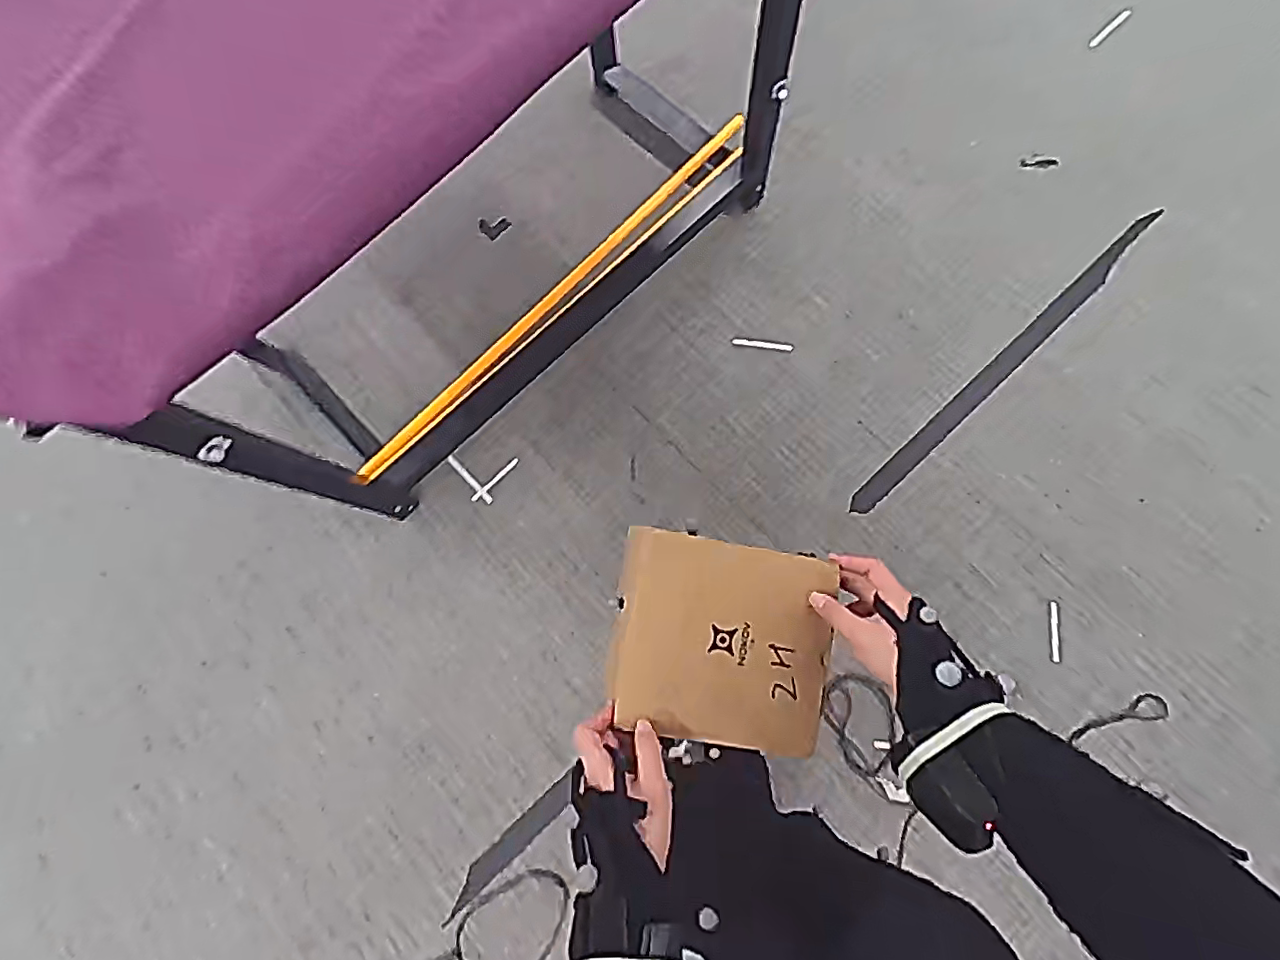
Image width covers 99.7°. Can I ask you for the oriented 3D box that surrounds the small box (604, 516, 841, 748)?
[{"bbox_3d":[0.065,0.133,0.533,0.179,0.176,0.168,12,86,-6],"label":"small box"}]
